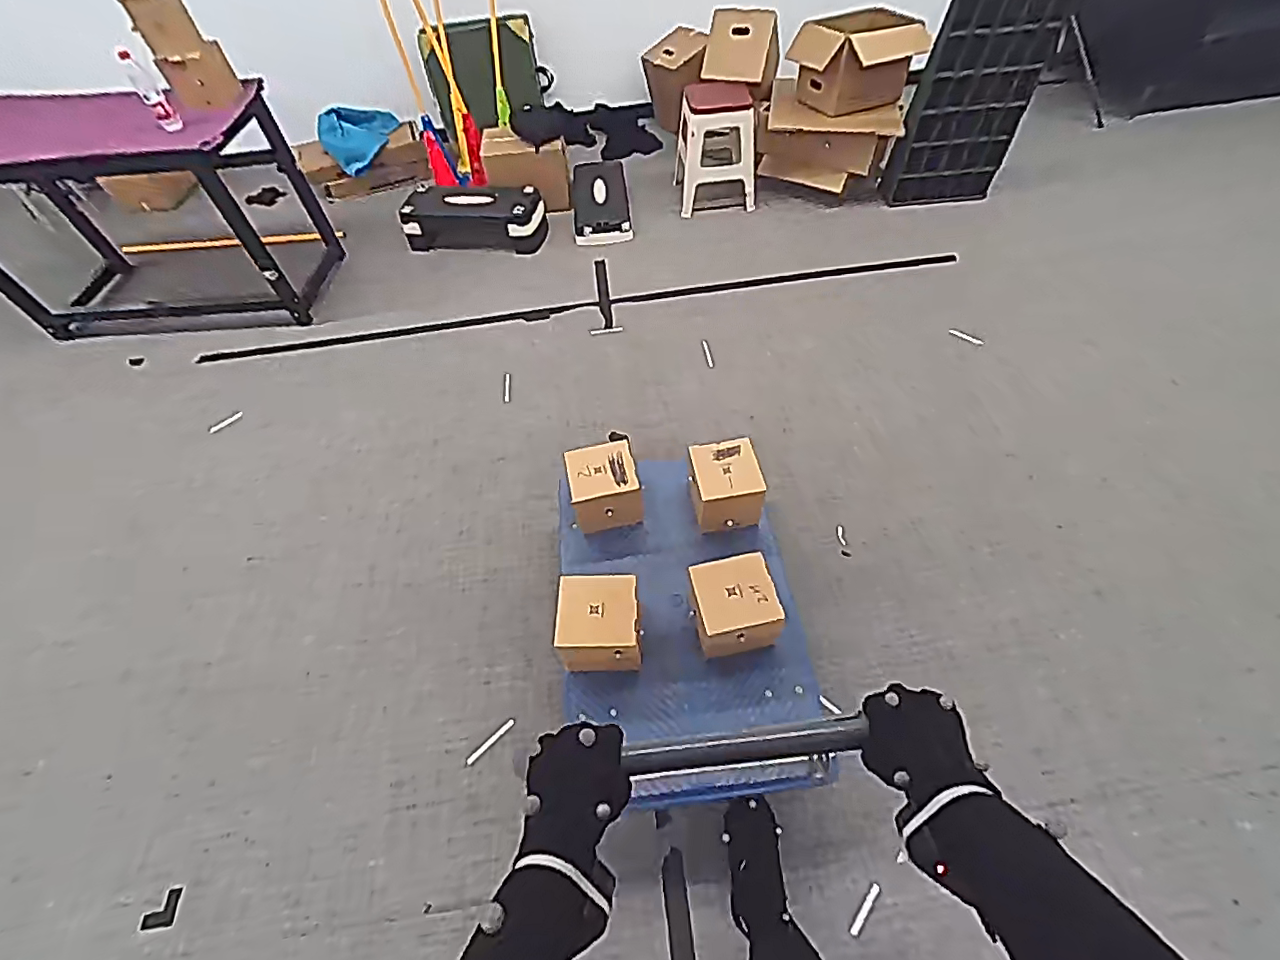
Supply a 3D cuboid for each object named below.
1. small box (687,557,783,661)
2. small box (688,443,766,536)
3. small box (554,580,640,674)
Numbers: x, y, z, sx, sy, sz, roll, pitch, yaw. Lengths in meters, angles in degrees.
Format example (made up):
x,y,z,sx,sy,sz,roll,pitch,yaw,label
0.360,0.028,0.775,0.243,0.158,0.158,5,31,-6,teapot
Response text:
x,y,z,sx,sy,sz,roll,pitch,yaw,label
0.214,0.303,1.253,0.179,0.176,0.168,-11,55,-4,small box
0.224,0.027,1.449,0.168,0.176,0.179,-9,55,-2,small box
-0.091,0.342,1.248,0.179,0.176,0.168,-1,54,1,small box
